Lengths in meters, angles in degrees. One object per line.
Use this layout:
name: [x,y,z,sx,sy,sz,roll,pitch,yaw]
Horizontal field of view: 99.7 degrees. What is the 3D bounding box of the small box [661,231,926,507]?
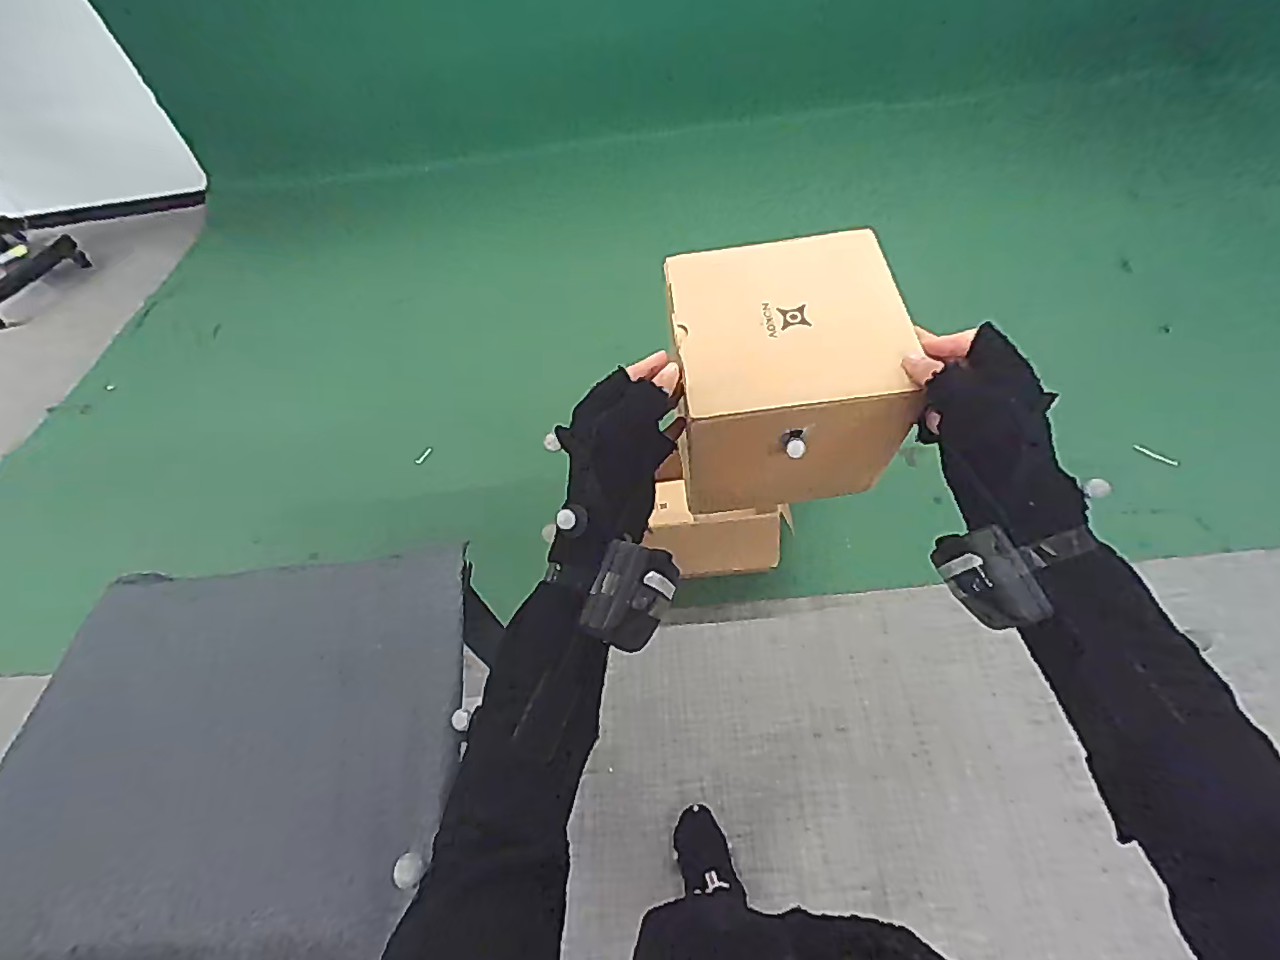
small box: [0.117,-0.088,0.488,0.179,0.176,0.168,-8,63,3]
